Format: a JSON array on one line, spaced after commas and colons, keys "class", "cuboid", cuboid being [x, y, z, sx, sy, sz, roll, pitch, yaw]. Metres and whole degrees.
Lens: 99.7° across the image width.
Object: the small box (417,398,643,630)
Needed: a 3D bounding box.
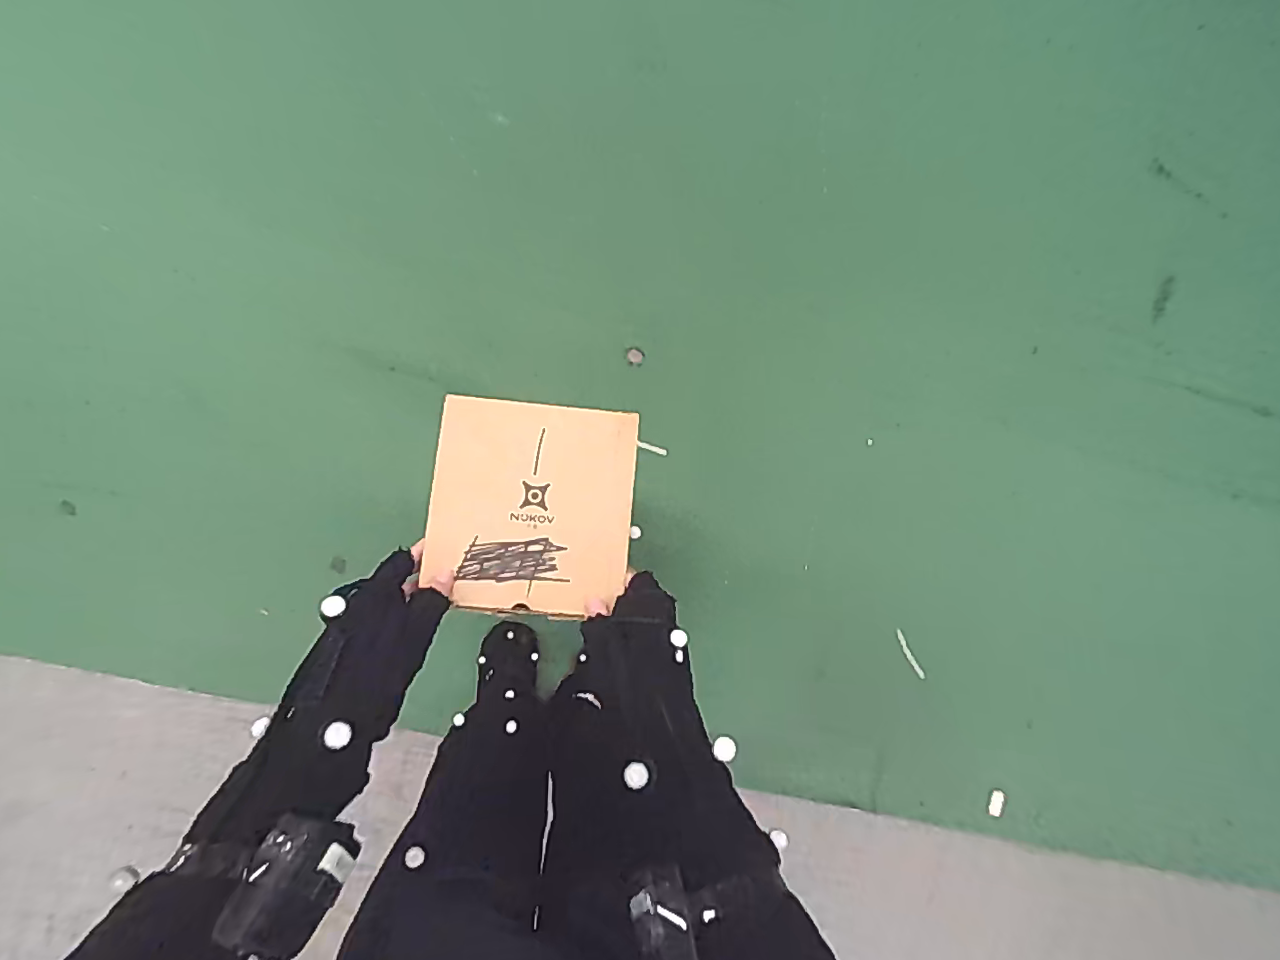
[{"class": "small box", "cuboid": [-0.091, 0.037, 0.512, 0.168, 0.176, 0.179, 5, 80, -4]}]
